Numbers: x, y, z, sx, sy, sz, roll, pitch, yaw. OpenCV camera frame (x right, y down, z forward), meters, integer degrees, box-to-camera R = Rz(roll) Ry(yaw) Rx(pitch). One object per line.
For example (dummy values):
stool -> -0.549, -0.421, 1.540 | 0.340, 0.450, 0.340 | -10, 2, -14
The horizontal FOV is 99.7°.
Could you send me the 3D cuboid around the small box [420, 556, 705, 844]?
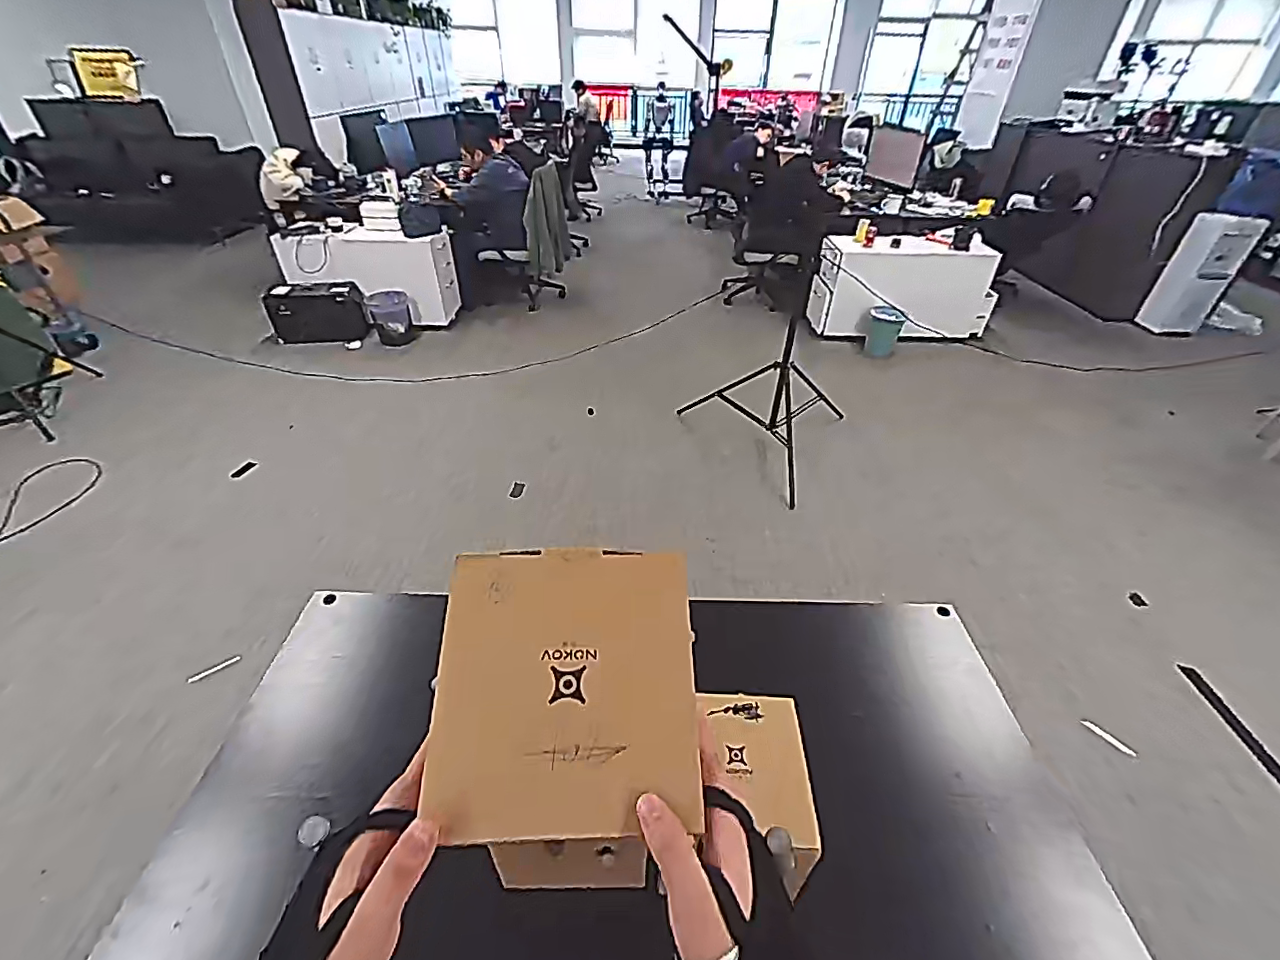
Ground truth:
small box -> -0.050, 0.172, 0.419 | 0.168, 0.176, 0.179 | 1, 60, -4
